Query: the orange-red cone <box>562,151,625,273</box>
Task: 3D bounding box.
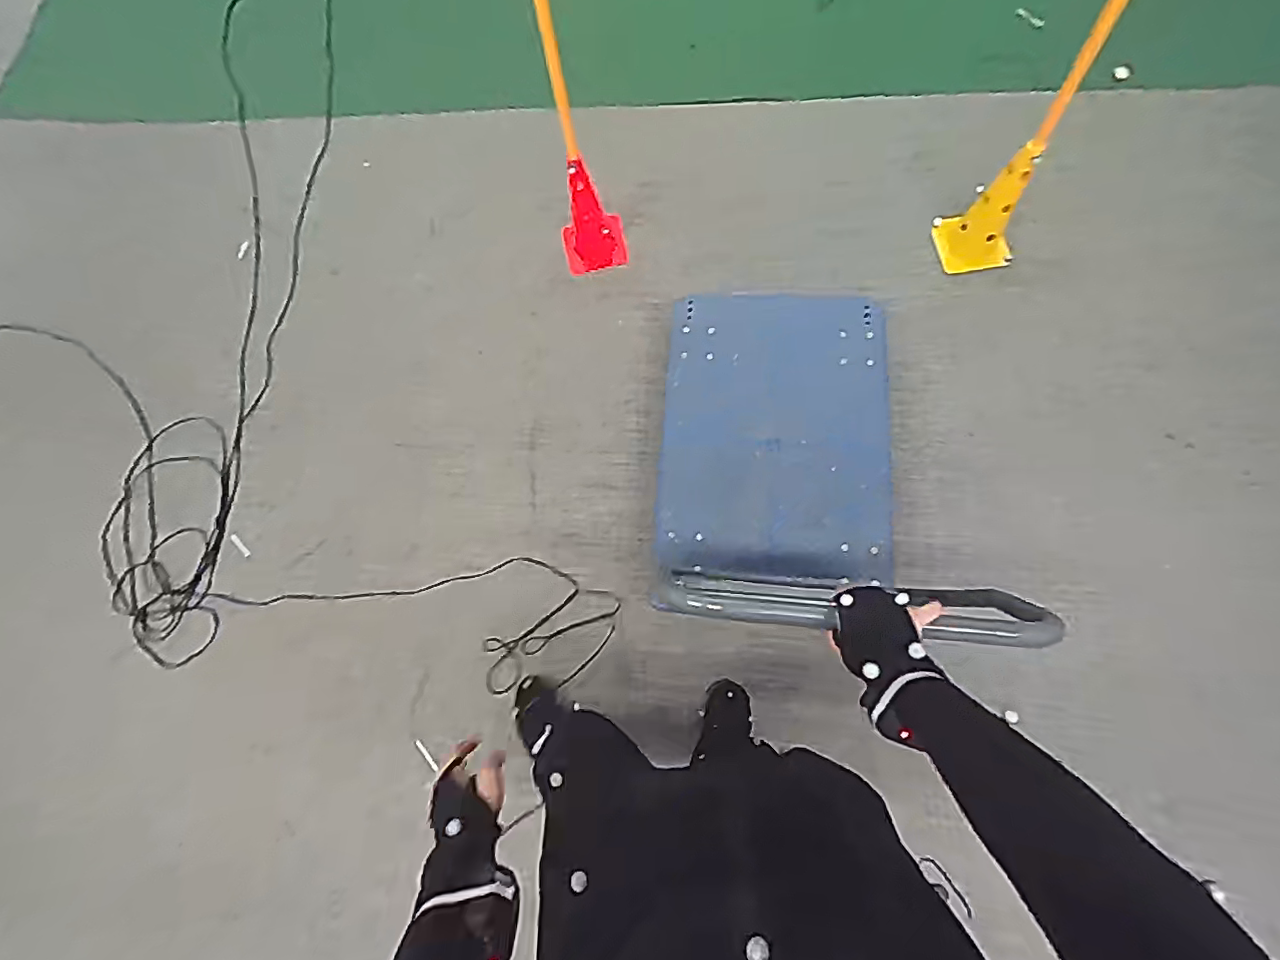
[{"bbox_3d":[-0.176,-0.833,1.641,0.199,0.360,0.198,-12,73,3],"label":"orange-red cone"}]
